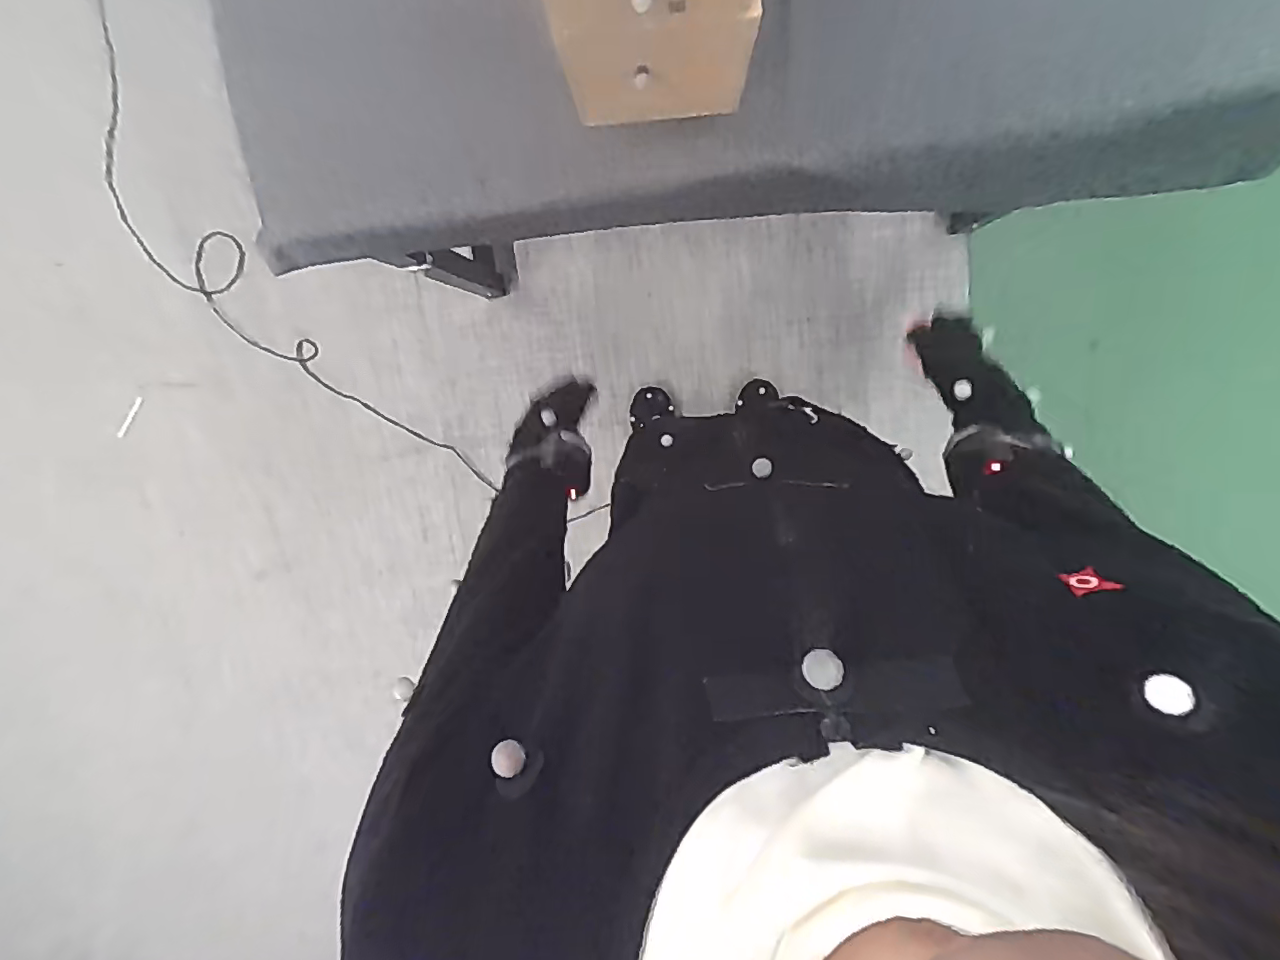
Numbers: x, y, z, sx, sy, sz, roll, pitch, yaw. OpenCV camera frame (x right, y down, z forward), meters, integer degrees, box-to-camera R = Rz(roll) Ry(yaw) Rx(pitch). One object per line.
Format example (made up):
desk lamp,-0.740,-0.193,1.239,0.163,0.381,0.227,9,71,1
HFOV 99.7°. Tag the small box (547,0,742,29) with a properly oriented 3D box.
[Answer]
small box,-0.003,-0.447,0.351,0.168,0.176,0.179,-3,101,3

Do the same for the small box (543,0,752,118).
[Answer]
small box,0.008,-0.472,0.514,0.179,0.176,0.168,-2,101,4
